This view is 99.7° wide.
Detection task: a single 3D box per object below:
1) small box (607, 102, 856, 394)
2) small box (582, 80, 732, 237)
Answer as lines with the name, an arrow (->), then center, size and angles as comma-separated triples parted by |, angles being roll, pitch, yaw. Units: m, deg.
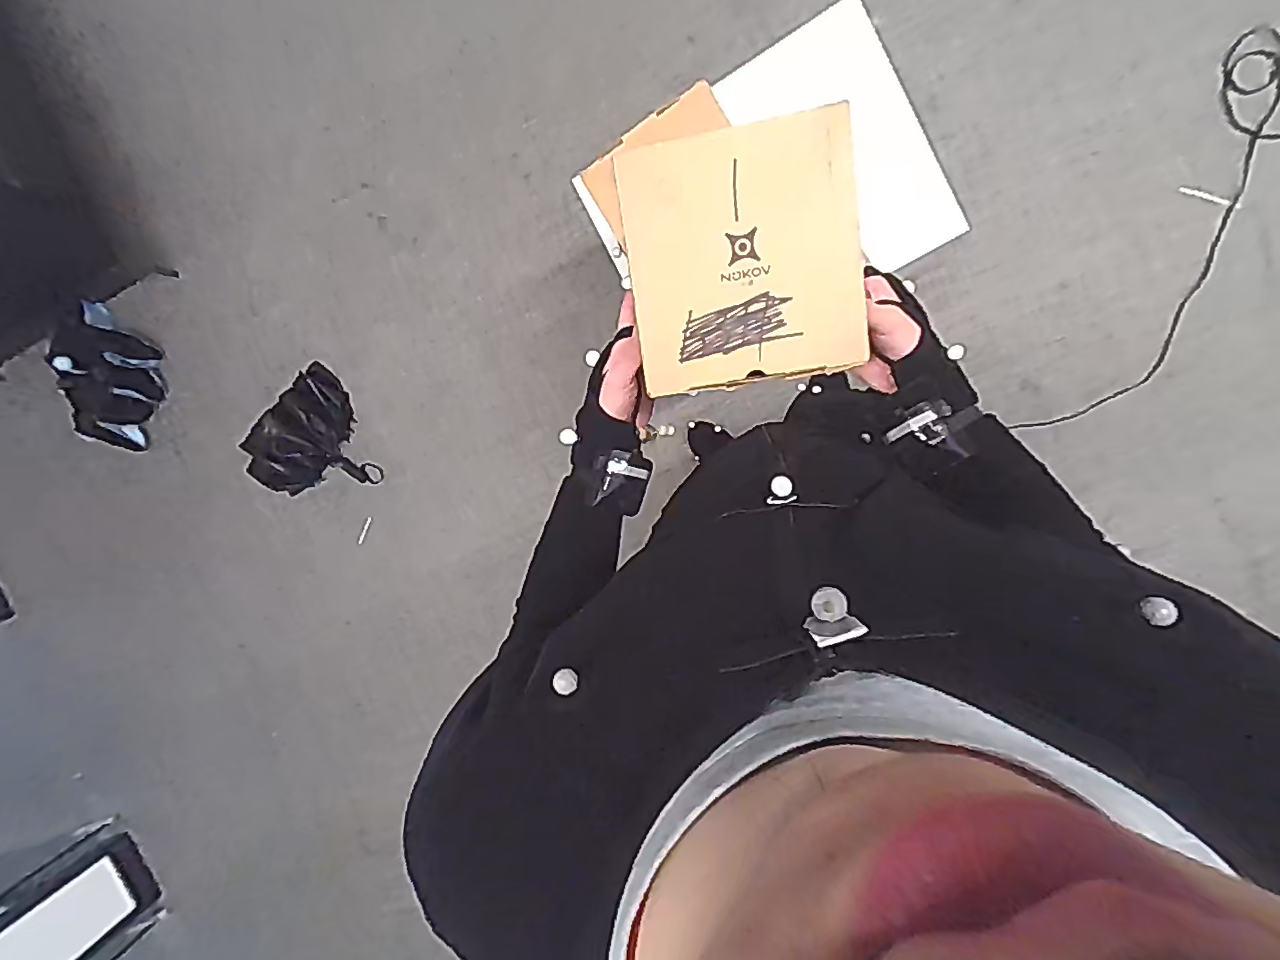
small box -> 0.078, -0.178, 0.466 | 0.168, 0.176, 0.179 | -7, 102, 9
small box -> 0.056, -0.322, 0.667 | 0.168, 0.176, 0.179 | -30, 93, 13
